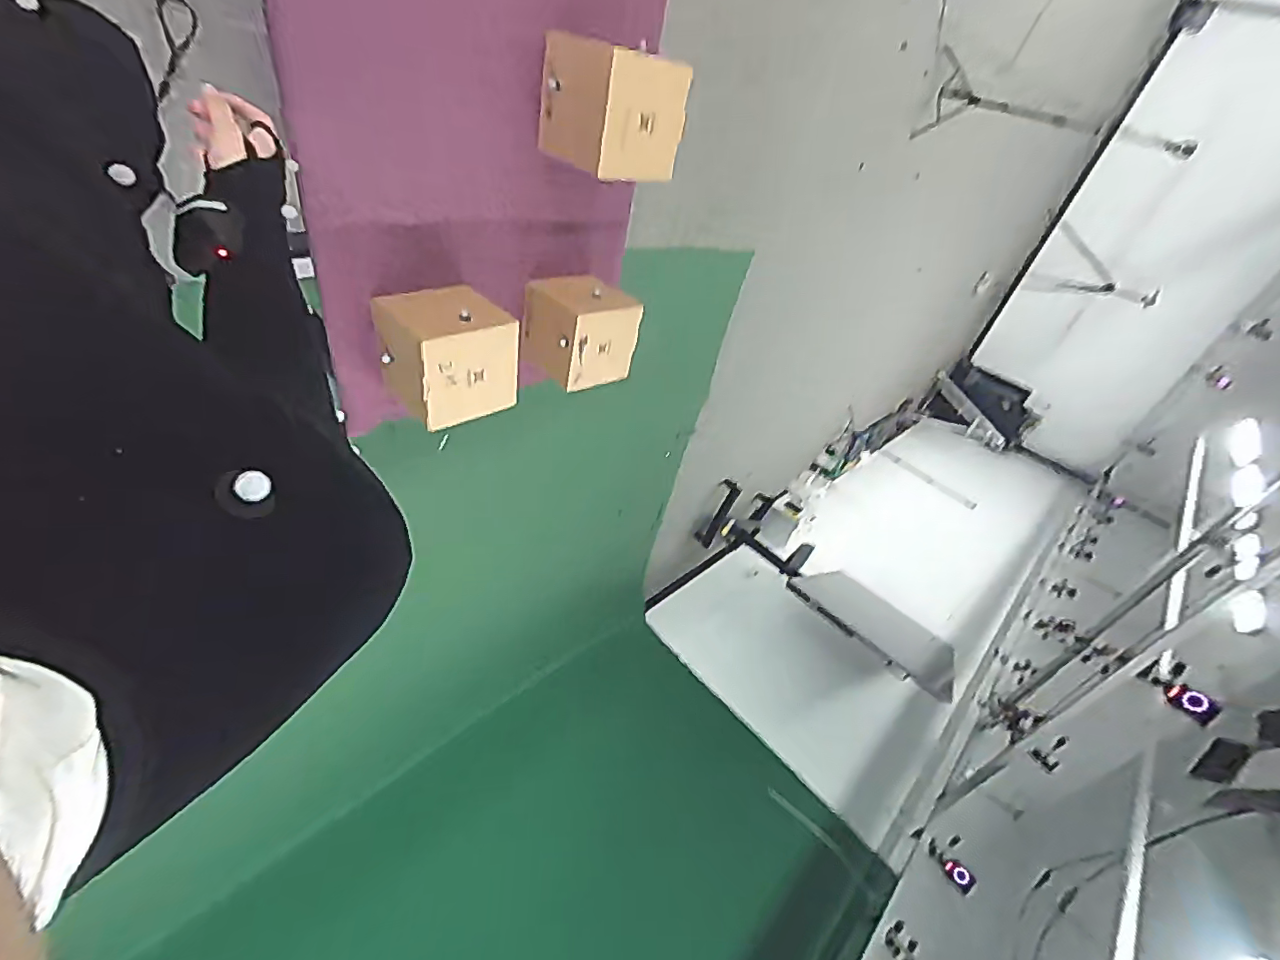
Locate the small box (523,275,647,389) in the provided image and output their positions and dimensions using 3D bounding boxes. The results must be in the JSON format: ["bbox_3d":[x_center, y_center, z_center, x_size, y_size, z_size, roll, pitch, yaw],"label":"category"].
[{"bbox_3d":[-0.118,-0.315,1.124,0.179,0.176,0.168,-24,141,-40],"label":"small box"}]

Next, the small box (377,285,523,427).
[{"bbox_3d":[-0.324,-0.222,0.933,0.179,0.176,0.168,-25,142,-38],"label":"small box"}]

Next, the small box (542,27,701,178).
[{"bbox_3d":[-0.035,-0.613,0.885,0.179,0.176,0.168,-23,141,-39],"label":"small box"}]
